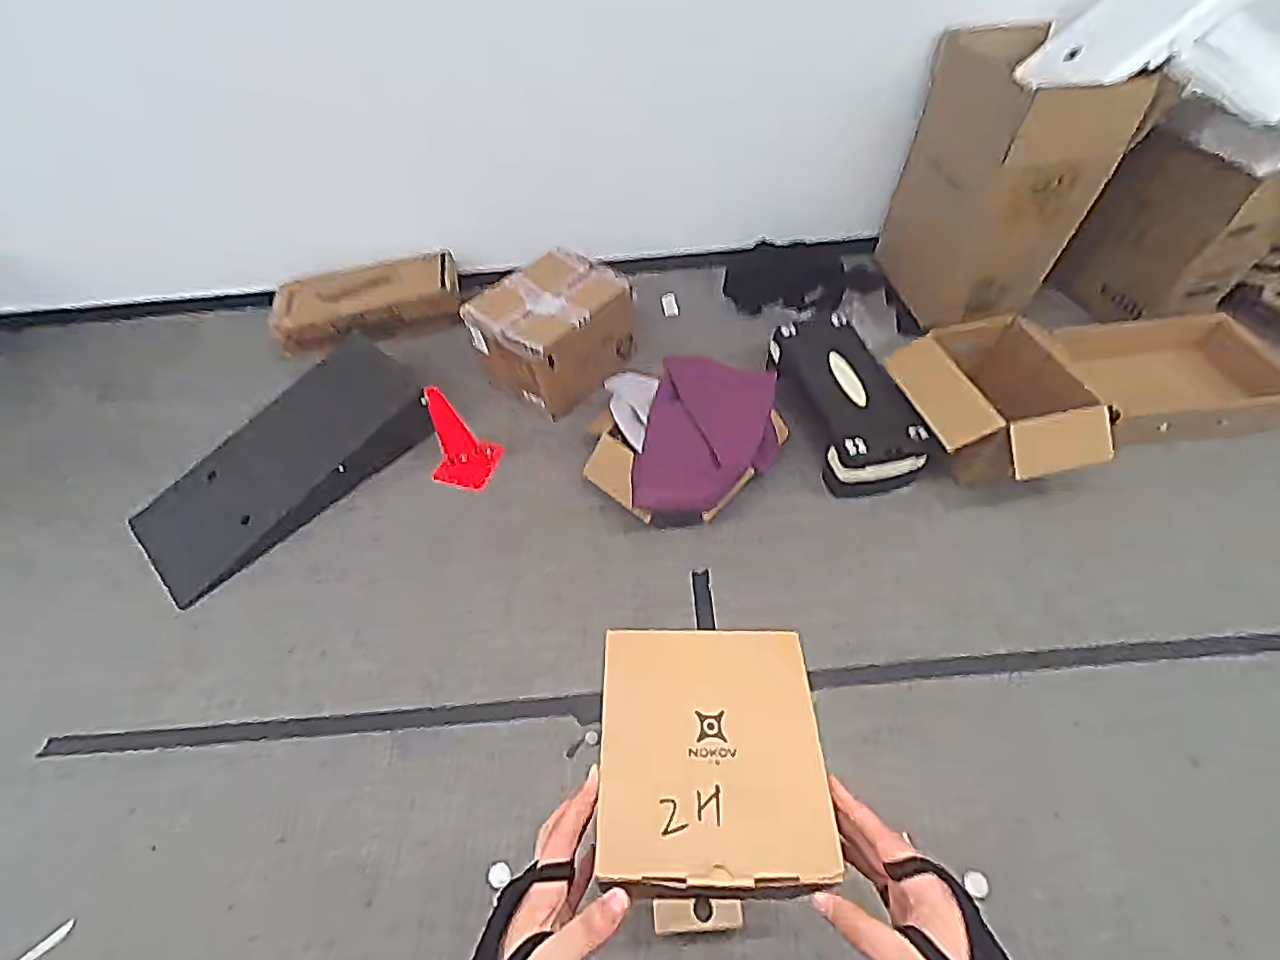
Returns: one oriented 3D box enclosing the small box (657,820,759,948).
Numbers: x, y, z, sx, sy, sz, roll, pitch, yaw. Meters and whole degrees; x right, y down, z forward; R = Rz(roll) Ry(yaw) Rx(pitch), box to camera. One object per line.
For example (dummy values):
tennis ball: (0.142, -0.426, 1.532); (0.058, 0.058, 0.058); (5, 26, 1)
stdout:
small box: (0.121, 0.764, 1.030); (0.168, 0.176, 0.179); (-6, 54, 1)
